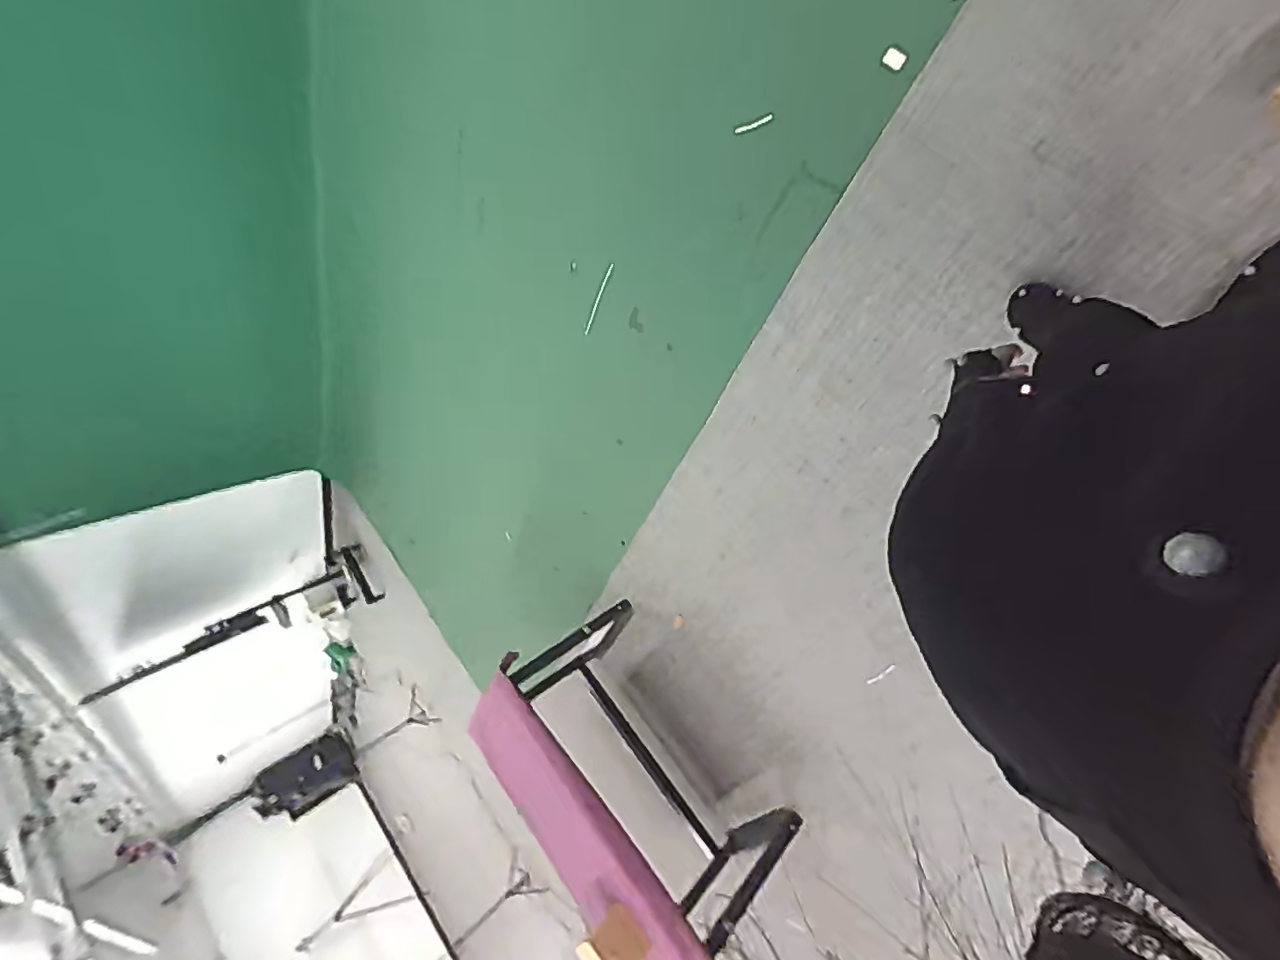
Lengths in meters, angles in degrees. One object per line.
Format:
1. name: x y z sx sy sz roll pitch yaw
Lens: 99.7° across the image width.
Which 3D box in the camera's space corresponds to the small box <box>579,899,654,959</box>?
1. small box: -0.079 1.615 1.881 0.179 0.176 0.168 45 133 22
